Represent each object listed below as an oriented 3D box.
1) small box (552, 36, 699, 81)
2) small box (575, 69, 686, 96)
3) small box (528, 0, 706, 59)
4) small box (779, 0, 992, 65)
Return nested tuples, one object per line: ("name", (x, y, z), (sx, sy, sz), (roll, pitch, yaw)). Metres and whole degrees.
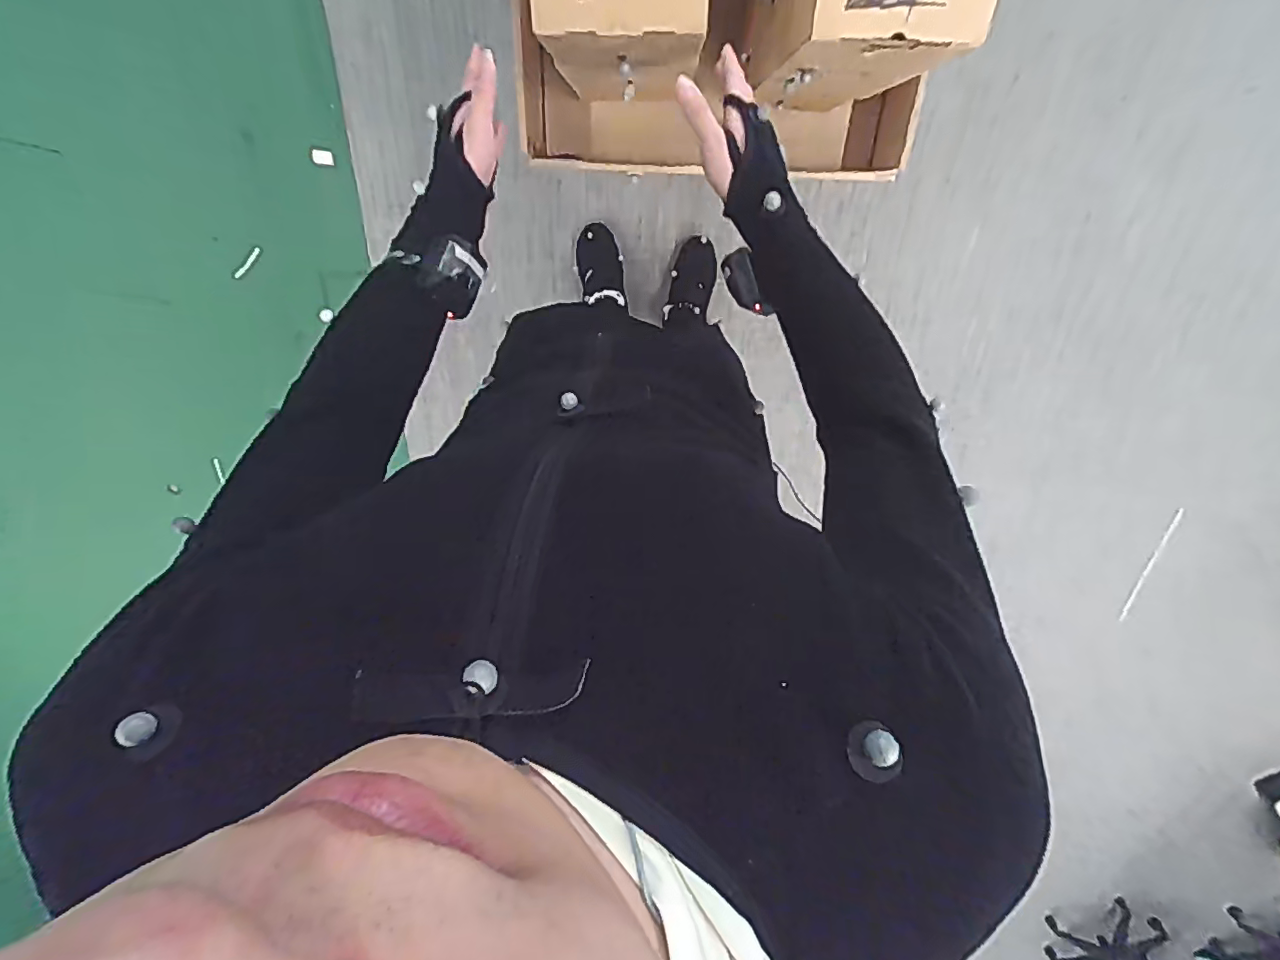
("small box", (-0.018, -0.614, 0.675), (0.179, 0.176, 0.168), (0, 119, 1))
("small box", (-0.017, -0.695, 0.819), (0.179, 0.176, 0.168), (1, 119, -1))
("small box", (-0.020, -0.538, 0.529), (0.168, 0.176, 0.179), (1, 120, 1))
("small box", (0.242, -0.529, 0.529), (0.168, 0.176, 0.179), (2, 118, -1))
